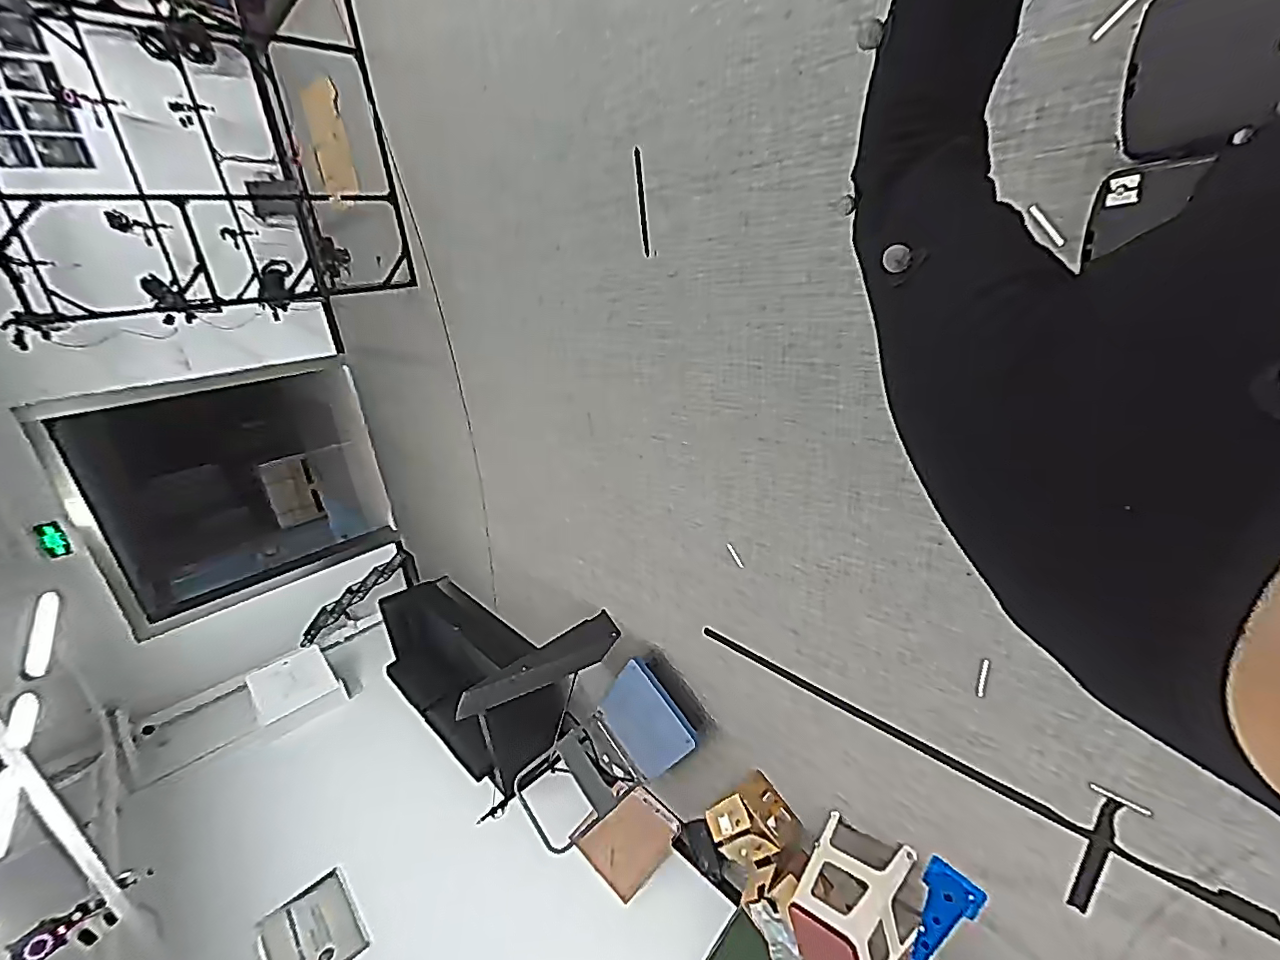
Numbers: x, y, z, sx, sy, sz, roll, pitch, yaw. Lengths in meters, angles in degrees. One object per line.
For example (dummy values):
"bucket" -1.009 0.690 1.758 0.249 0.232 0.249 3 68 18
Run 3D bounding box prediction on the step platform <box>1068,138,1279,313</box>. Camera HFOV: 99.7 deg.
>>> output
"step platform" 1.194 -0.459 0.957 0.684 0.204 0.286 16 120 47
